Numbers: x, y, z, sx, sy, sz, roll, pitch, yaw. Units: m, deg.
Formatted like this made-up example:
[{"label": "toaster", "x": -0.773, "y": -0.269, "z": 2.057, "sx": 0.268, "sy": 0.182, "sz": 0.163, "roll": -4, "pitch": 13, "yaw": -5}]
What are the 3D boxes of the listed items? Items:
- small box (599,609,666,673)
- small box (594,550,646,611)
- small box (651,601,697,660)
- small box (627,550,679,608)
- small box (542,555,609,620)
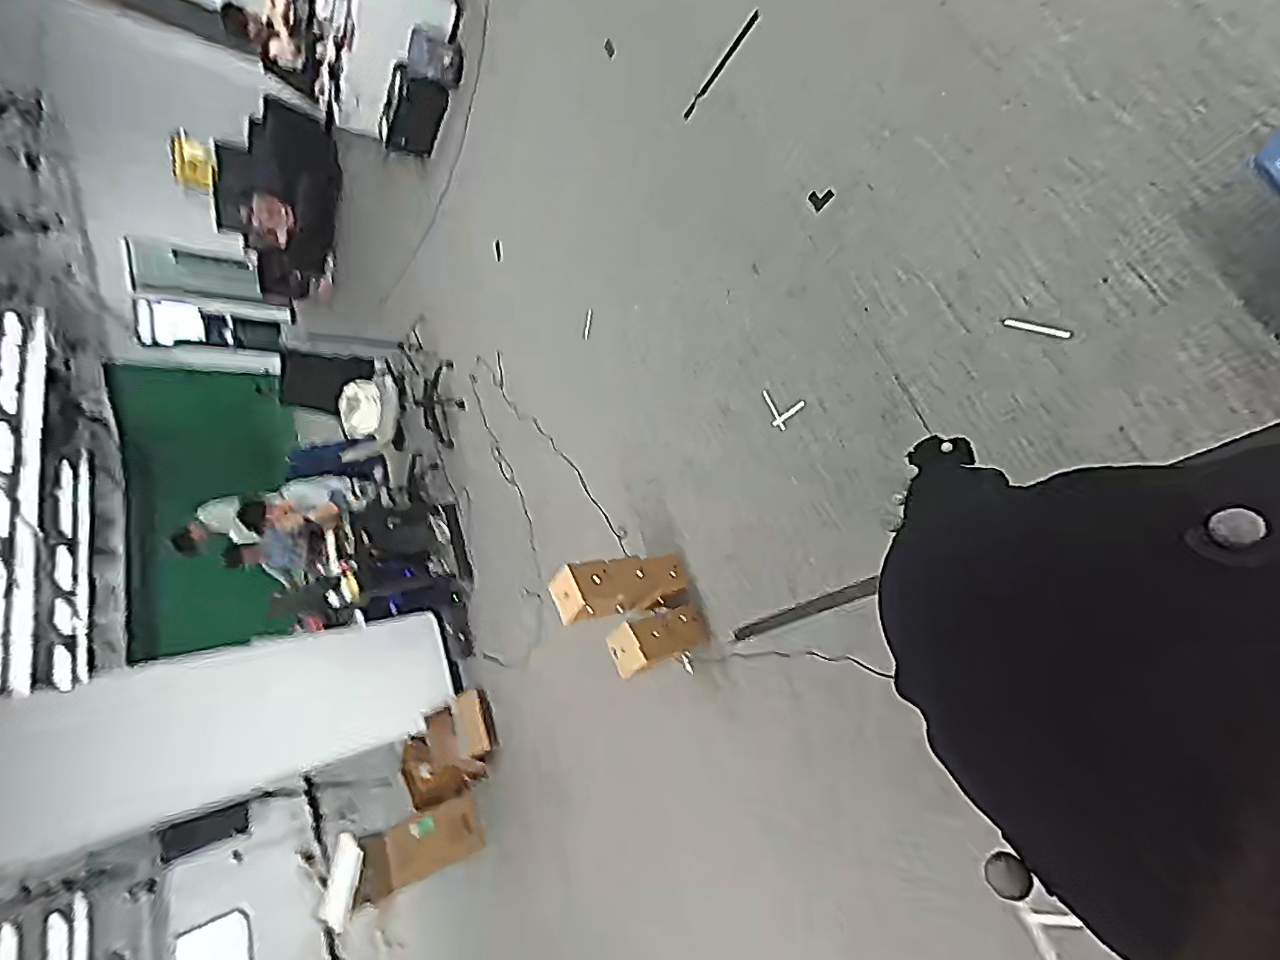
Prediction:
[{"label": "small box", "x": -0.022, "y": 0.606, "z": 2.050, "sx": 0.179, "sy": 0.176, "sz": 0.168, "roll": -48, "pitch": 57, "yaw": 39}, {"label": "small box", "x": -0.105, "y": 0.394, "z": 2.131, "sx": 0.179, "sy": 0.176, "sz": 0.168, "roll": -48, "pitch": 58, "yaw": 38}, {"label": "small box", "x": 0.106, "y": 0.597, "z": 2.153, "sx": 0.179, "sy": 0.176, "sz": 0.168, "roll": -45, "pitch": 59, "yaw": 42}, {"label": "small box", "x": 0.031, "y": 0.406, "z": 2.226, "sx": 0.179, "sy": 0.176, "sz": 0.168, "roll": -49, "pitch": 57, "yaw": 38}, {"label": "small box", "x": -0.236, "y": 0.397, "z": 2.030, "sx": 0.179, "sy": 0.176, "sz": 0.168, "roll": -52, "pitch": 55, "yaw": 37}]
